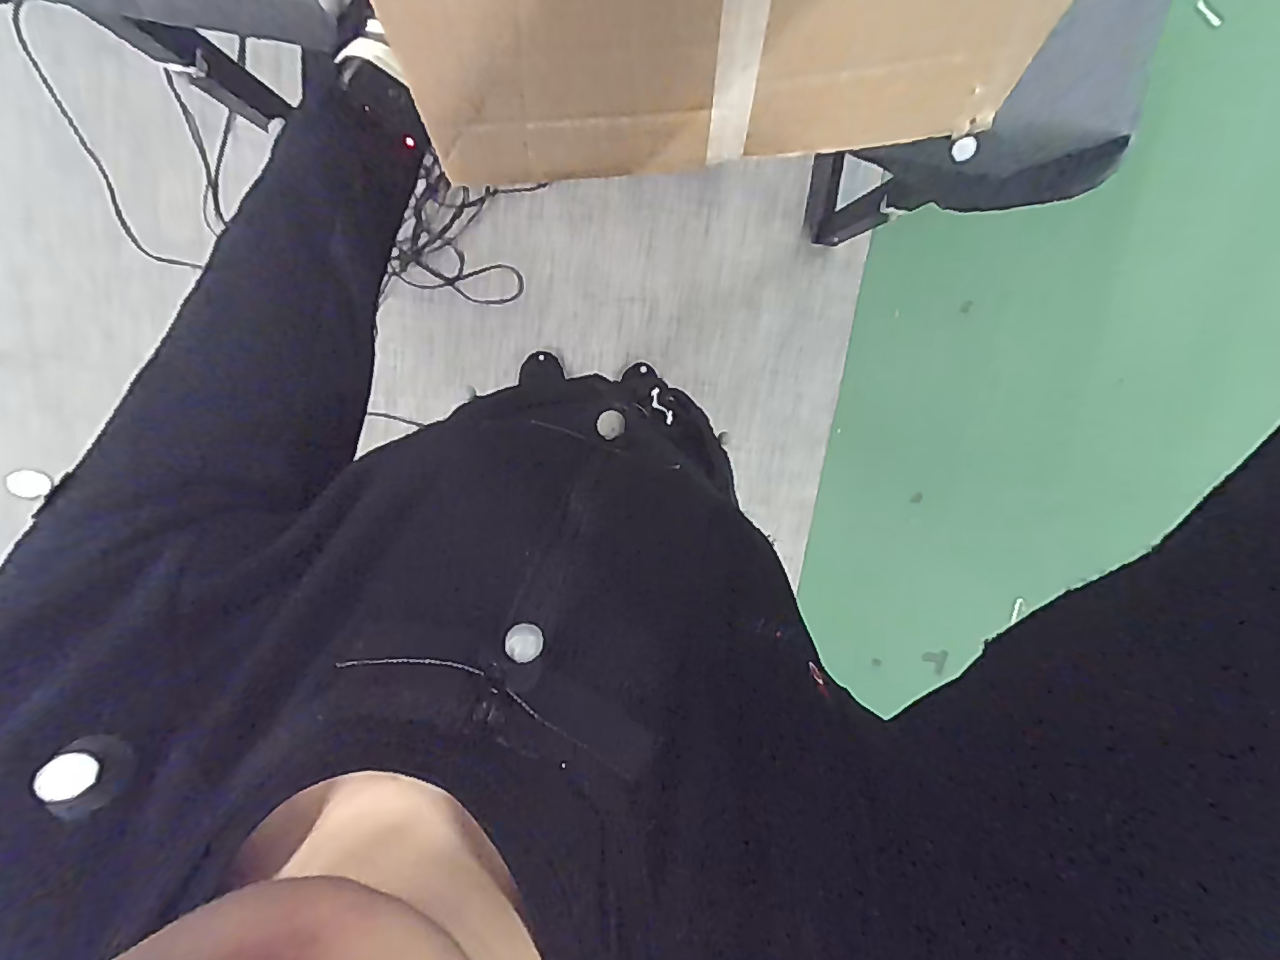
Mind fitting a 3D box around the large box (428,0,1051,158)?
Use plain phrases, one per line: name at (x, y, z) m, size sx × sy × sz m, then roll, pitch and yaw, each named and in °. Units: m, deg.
large box at (0.035, -0.404, 0.170) m, size 0.320 × 0.408 × 0.320 m, roll -6°, pitch 75°, yaw 0°
